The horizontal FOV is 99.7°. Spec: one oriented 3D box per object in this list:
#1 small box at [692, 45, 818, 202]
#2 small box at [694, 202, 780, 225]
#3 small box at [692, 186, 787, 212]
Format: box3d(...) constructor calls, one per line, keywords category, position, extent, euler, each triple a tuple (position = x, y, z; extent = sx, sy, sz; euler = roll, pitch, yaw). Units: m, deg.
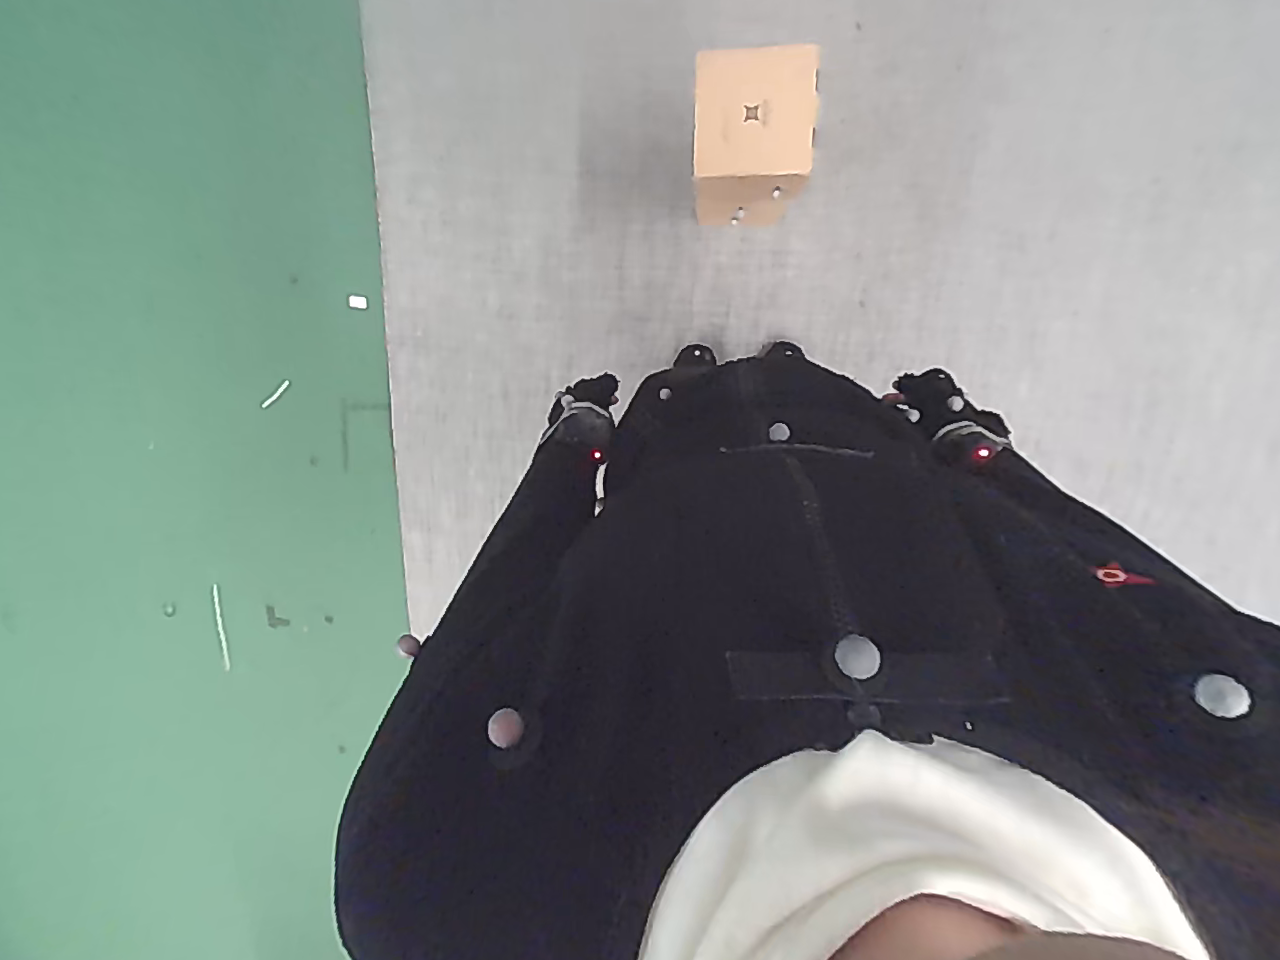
box3d(category="small box", position=(0.175, -0.555, 0.865), extent=(0.179, 0.176, 0.168), euler=(2, 104, 8))
box3d(category="small box", position=(0.212, -0.659, 1.172), extent=(0.179, 0.176, 0.168), euler=(4, 106, 7))
box3d(category="small box", position=(0.189, -0.612, 1.017), extent=(0.179, 0.176, 0.168), euler=(1, 106, 7))
